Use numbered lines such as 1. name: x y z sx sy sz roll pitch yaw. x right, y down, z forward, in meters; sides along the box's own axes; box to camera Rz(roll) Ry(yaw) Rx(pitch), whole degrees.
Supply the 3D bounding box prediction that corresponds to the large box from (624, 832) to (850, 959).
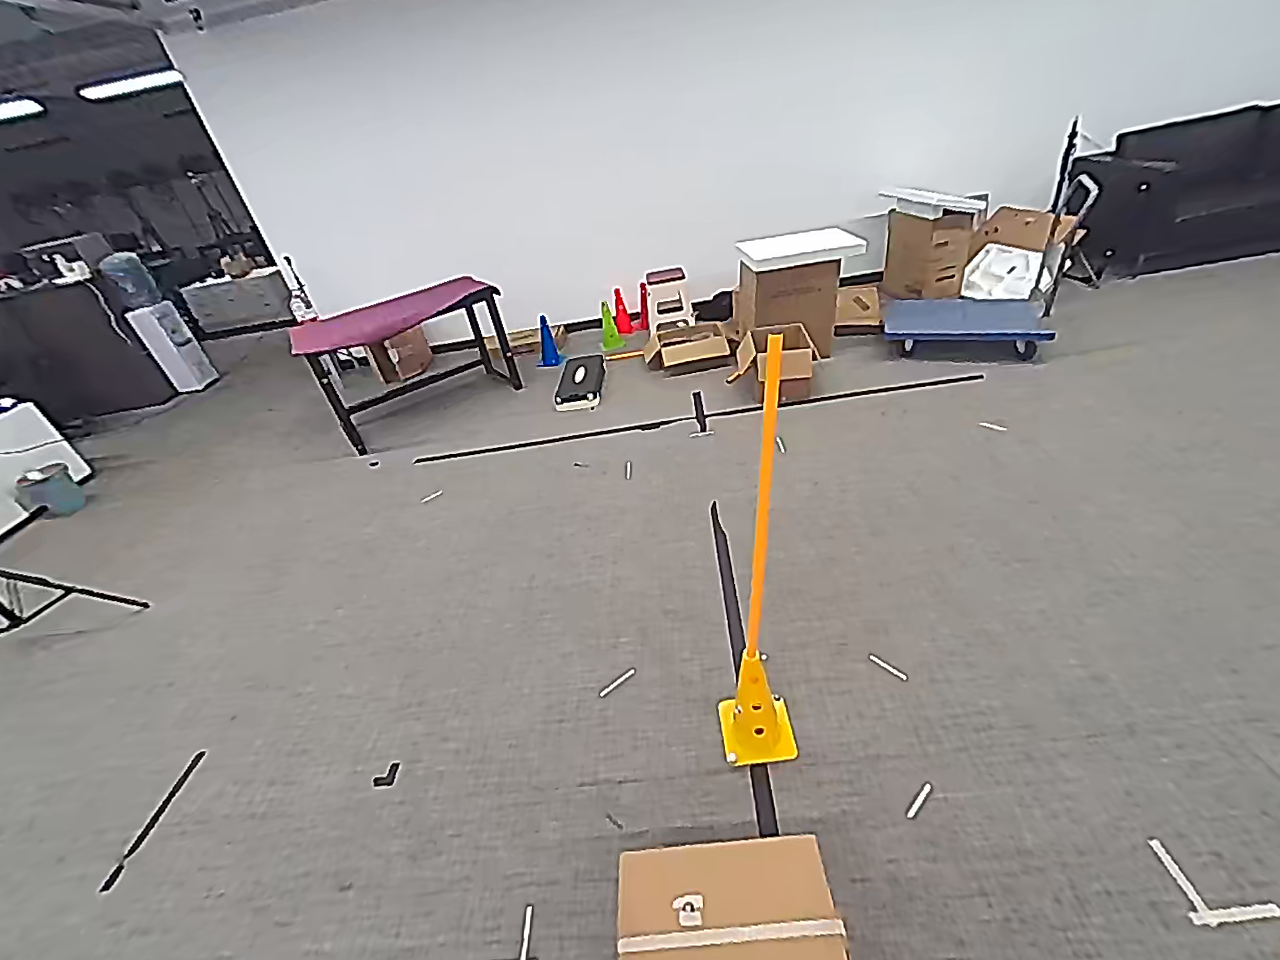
1. large box: 0.195 0.955 1.069 0.408 0.320 0.320 -10 33 5
